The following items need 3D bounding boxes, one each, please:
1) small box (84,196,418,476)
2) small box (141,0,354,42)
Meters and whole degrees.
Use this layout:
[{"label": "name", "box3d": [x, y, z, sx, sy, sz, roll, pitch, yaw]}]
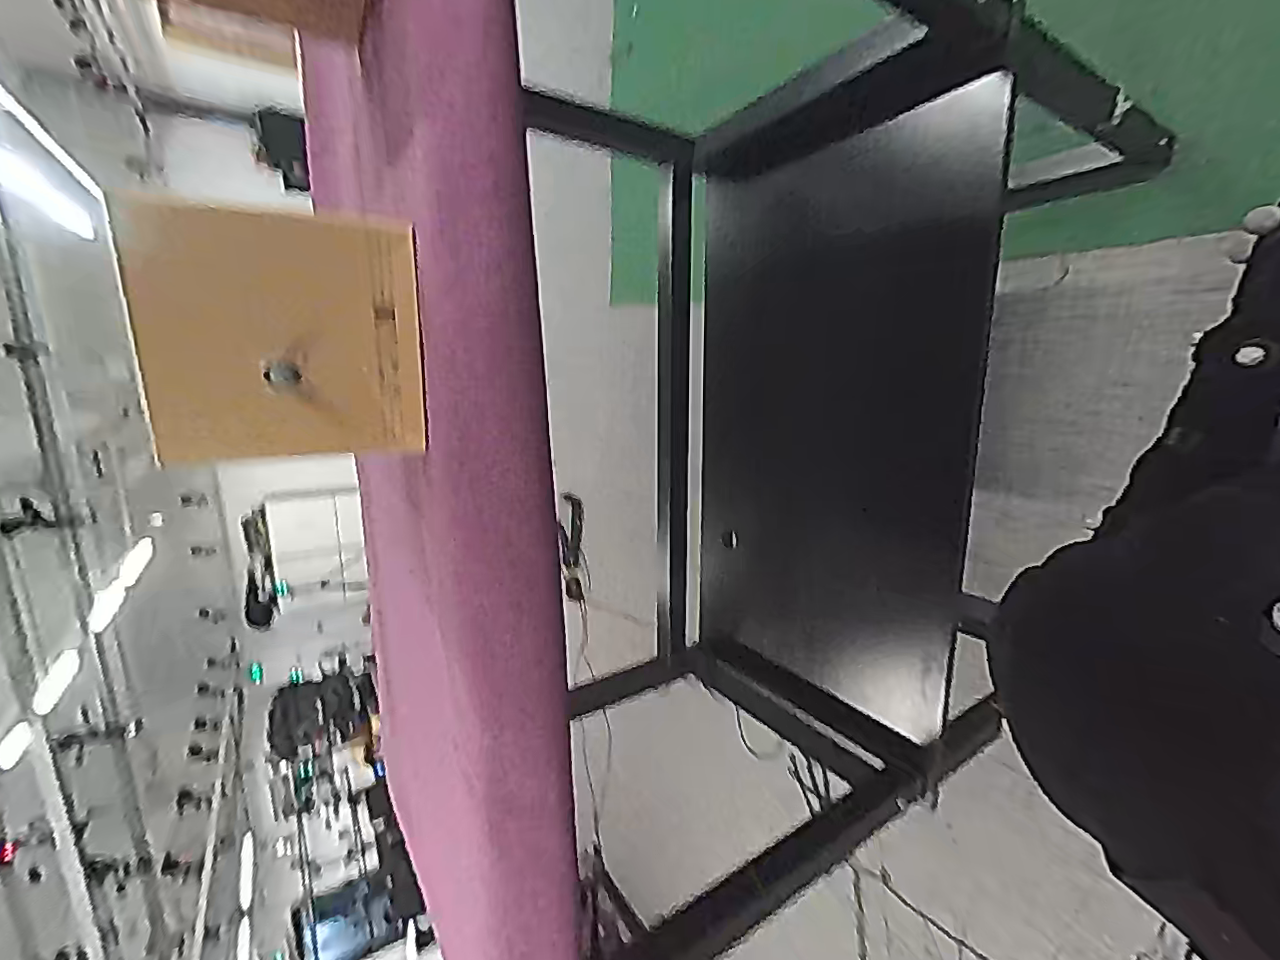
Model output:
[{"label": "small box", "box3d": [-0.279, -0.112, 0.426, 0.179, 0.176, 0.168, 25, 118, 54]}, {"label": "small box", "box3d": [-0.293, -0.448, 0.364, 0.179, 0.176, 0.168, 14, 109, 57]}]
